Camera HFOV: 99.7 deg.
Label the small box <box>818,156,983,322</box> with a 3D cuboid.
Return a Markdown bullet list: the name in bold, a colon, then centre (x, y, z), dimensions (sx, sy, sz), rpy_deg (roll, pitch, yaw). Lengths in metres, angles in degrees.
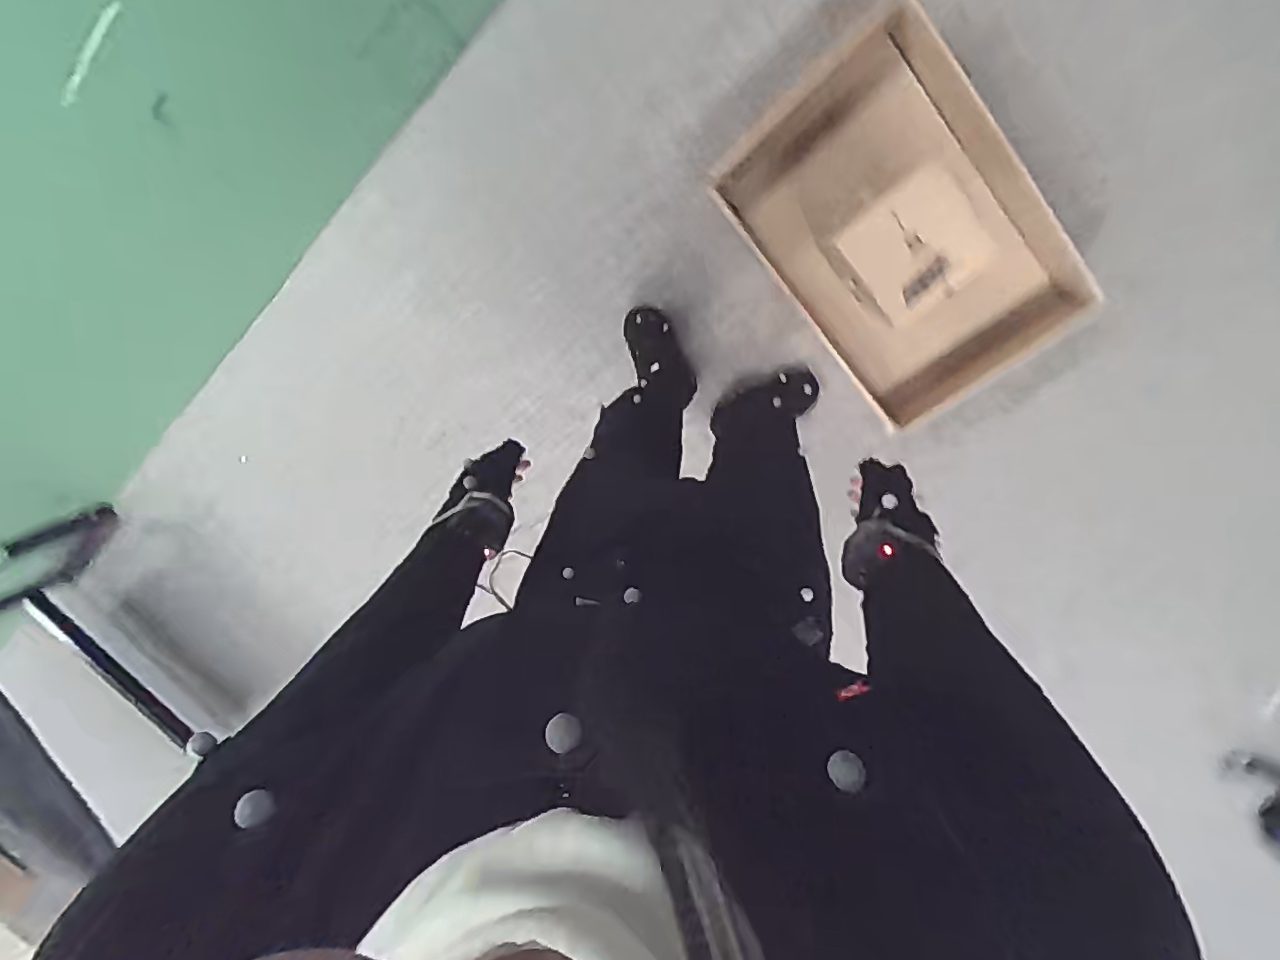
- **small box**: centre (0.414, -0.389, 0.887), dimensions (0.168, 0.176, 0.179), rpy_deg (-35, 102, 23)
